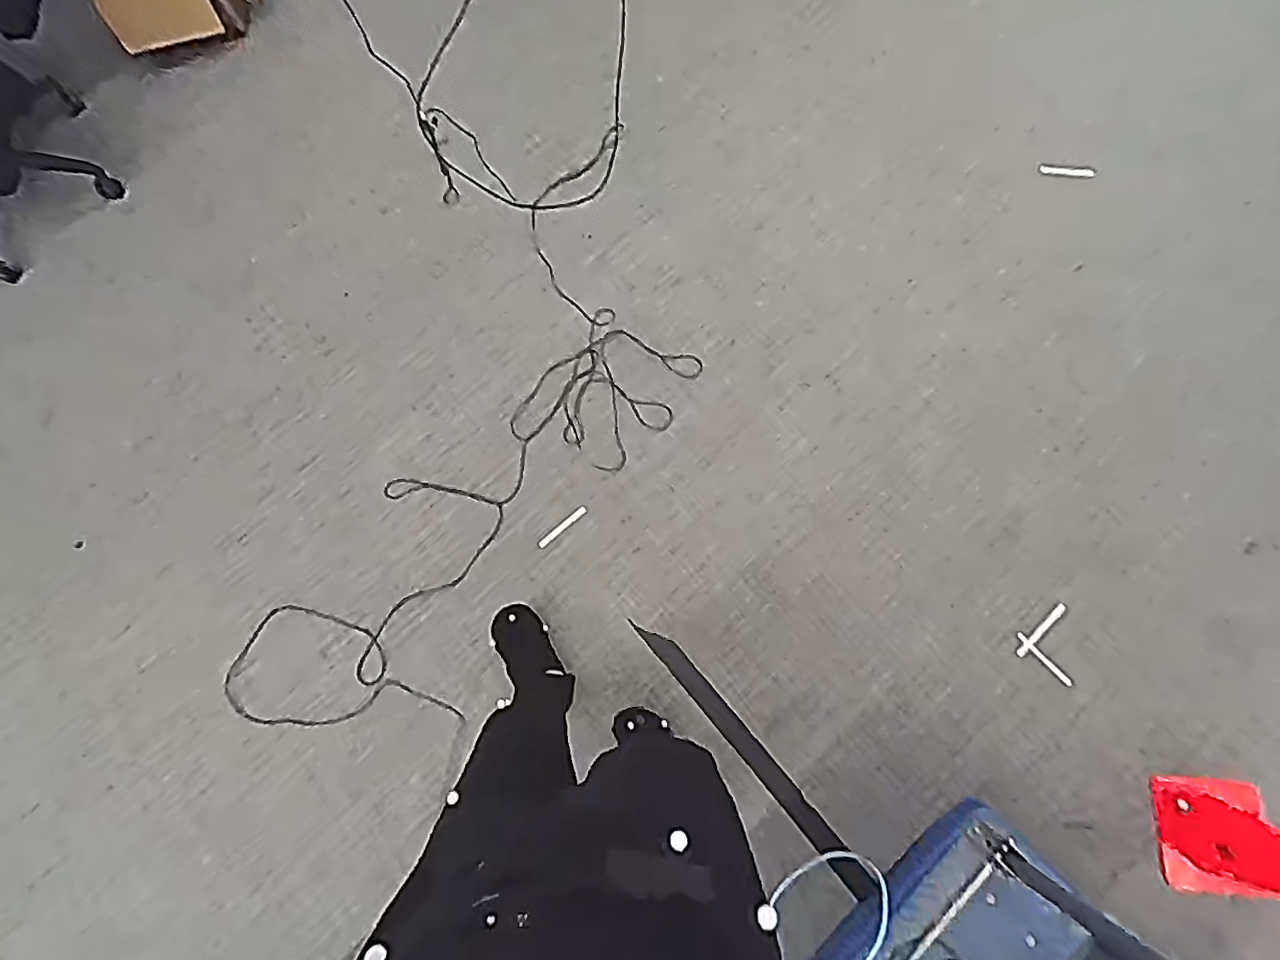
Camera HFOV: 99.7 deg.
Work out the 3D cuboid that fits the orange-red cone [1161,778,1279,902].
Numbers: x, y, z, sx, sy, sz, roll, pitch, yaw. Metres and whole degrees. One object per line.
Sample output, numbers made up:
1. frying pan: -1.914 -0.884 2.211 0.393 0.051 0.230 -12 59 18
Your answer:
1. orange-red cone: 1.106 0.654 0.876 0.198 0.360 0.199 4 78 5
